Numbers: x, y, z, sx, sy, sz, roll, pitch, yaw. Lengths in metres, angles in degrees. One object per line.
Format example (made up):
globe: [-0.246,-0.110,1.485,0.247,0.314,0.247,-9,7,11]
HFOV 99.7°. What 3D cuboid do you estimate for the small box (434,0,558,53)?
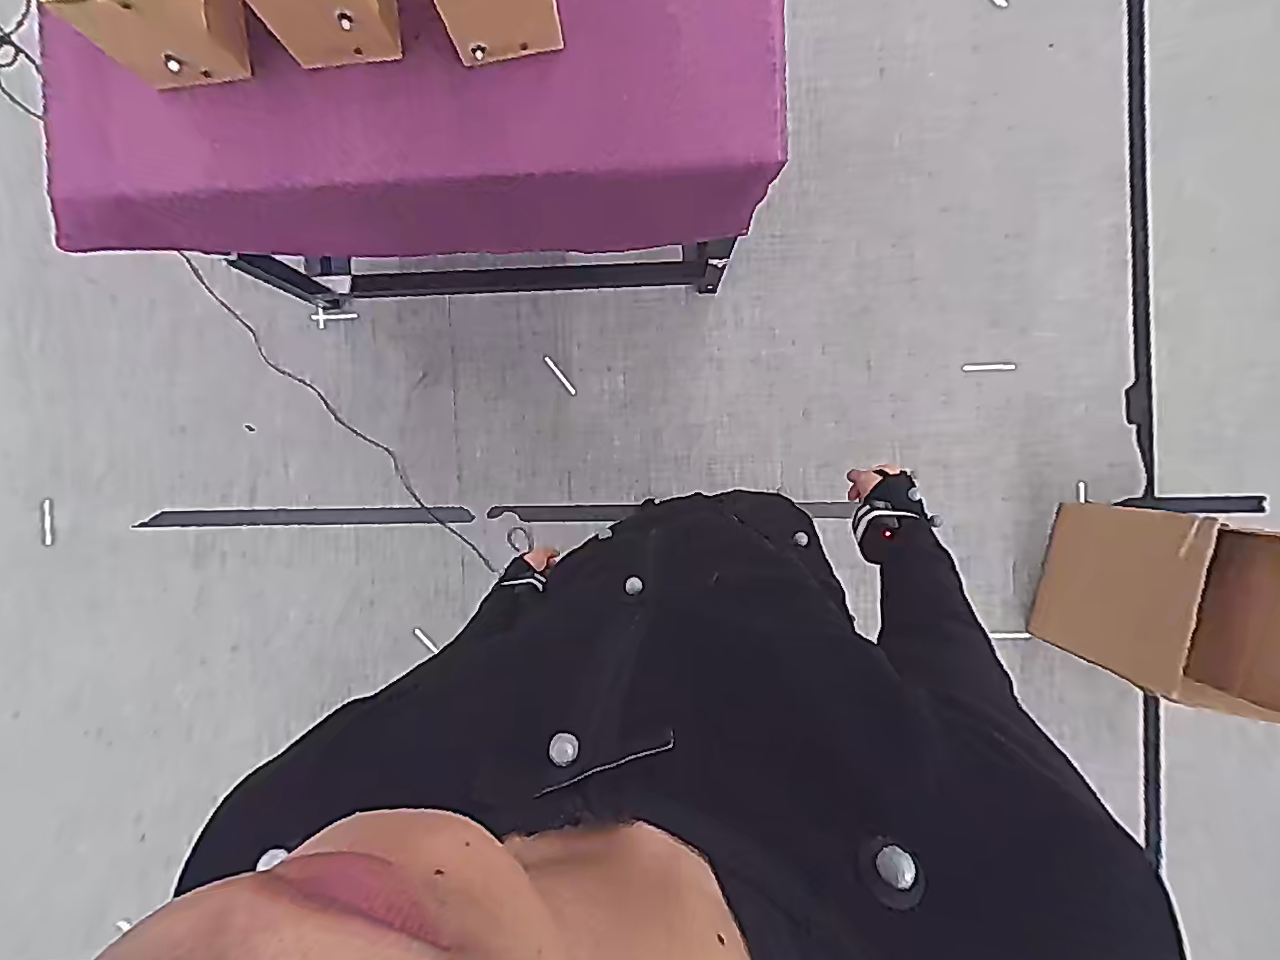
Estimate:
small box: [-0.223,-0.768,0.787,0.168,0.176,0.179,-10,91,1]

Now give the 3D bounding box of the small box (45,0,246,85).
small box: [-0.725,-0.732,0.796,0.168,0.176,0.179,-6,92,2]

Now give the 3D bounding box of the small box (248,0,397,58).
small box: [-0.476,-0.762,0.793,0.168,0.176,0.179,-5,91,1]
